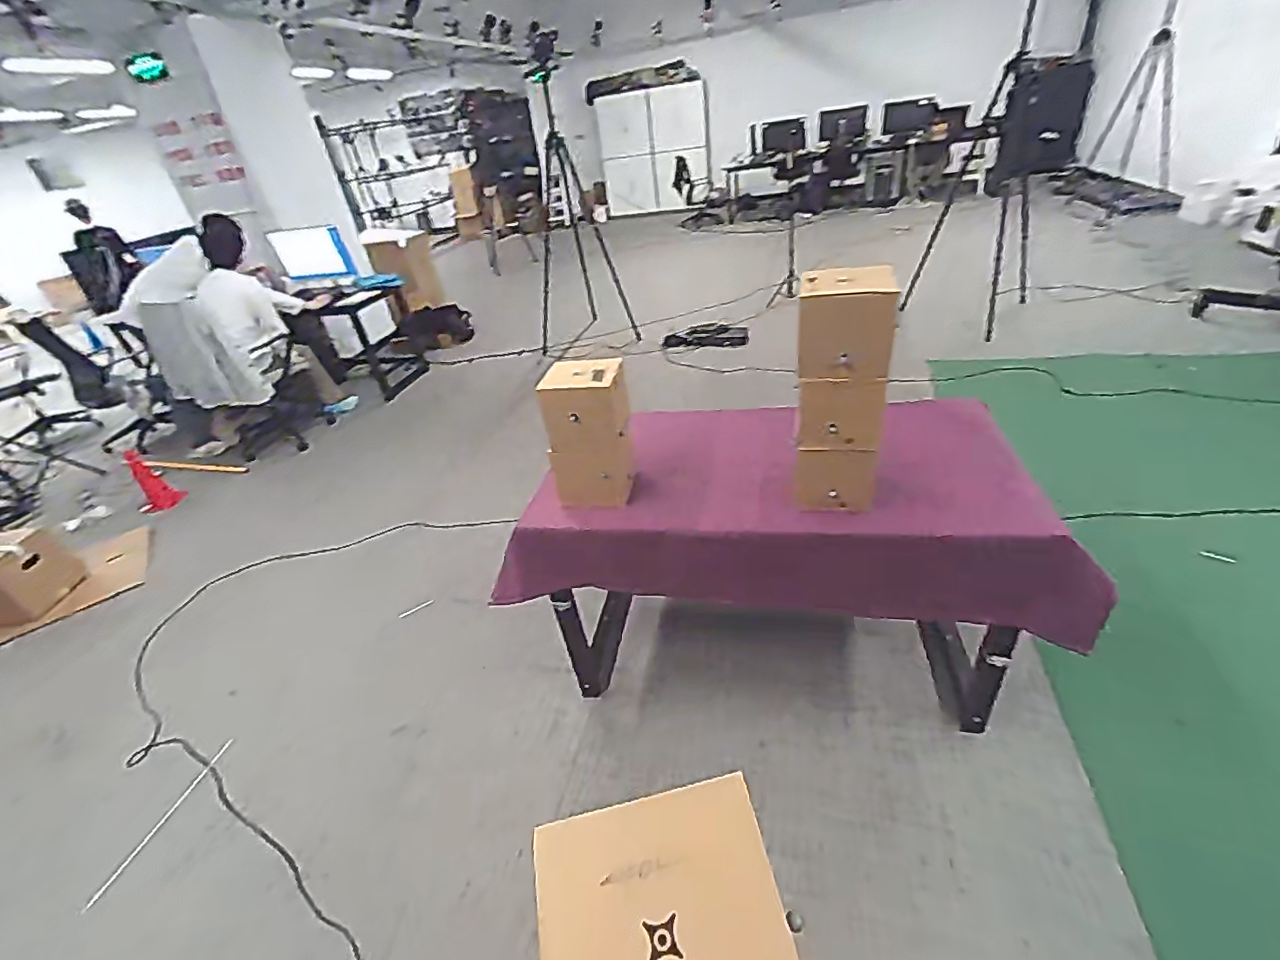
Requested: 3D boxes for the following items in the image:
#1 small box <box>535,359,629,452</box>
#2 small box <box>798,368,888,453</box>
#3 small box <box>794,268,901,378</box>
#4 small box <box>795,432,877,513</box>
[{"bbox_3d":[-0.129,-0.178,1.308,0.179,0.176,0.168,-1,34,12],"label":"small box"},{"bbox_3d":[0.431,-0.177,1.171,0.168,0.176,0.179,2,36,16],"label":"small box"},{"bbox_3d":[0.406,-0.311,1.079,0.179,0.176,0.168,3,36,17],"label":"small box"},{"bbox_3d":[0.450,-0.042,1.261,0.168,0.176,0.179,1,35,16],"label":"small box"}]
